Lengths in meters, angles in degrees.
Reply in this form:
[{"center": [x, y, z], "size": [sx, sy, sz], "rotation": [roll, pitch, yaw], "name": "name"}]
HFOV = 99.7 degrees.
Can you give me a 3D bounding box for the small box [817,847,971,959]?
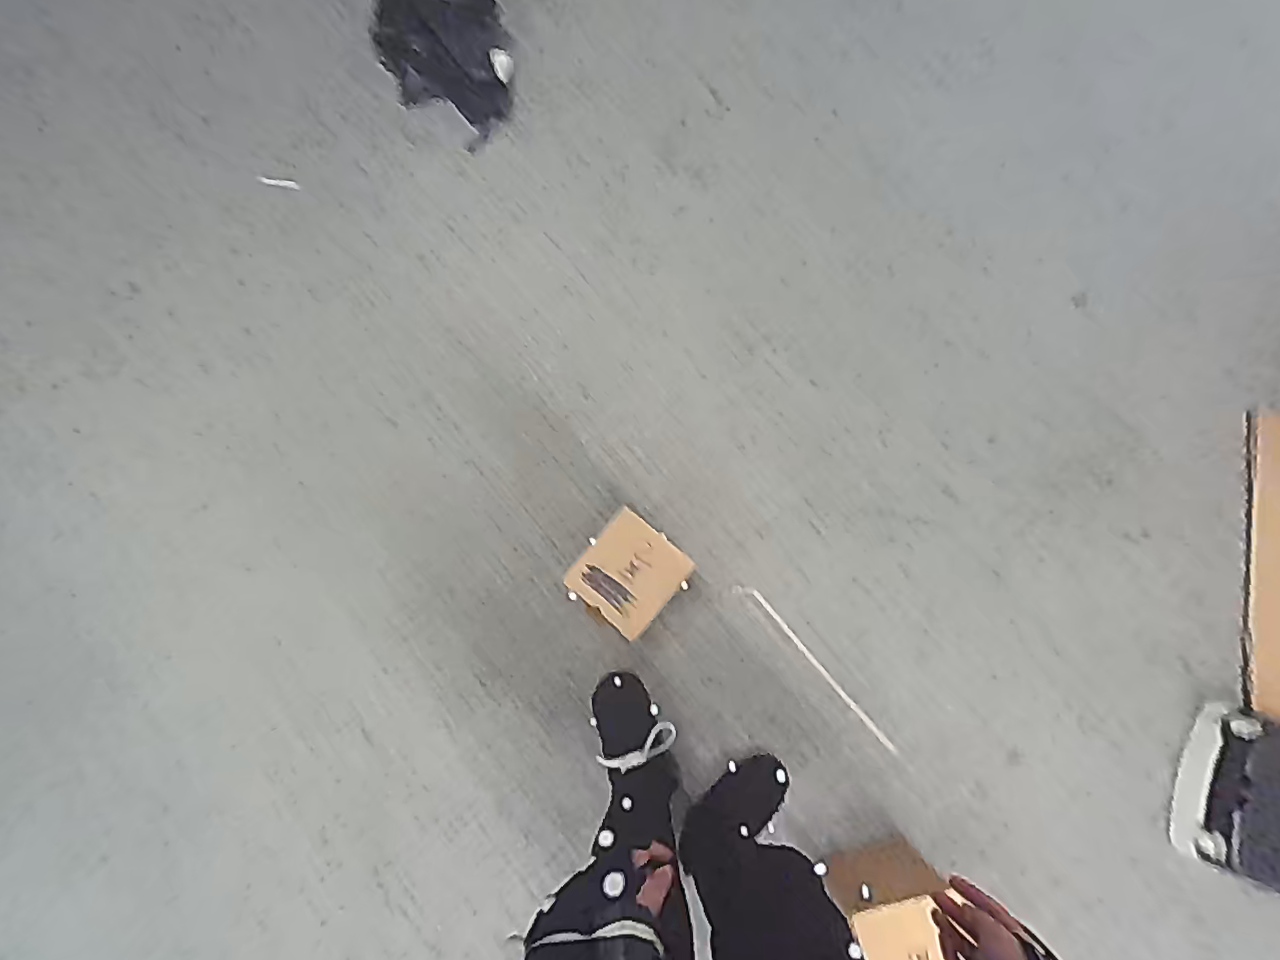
[{"center": [0.425, 0.759, 0.910], "size": [0.179, 0.176, 0.168], "rotation": [-14, 81, -1], "name": "small box"}]
